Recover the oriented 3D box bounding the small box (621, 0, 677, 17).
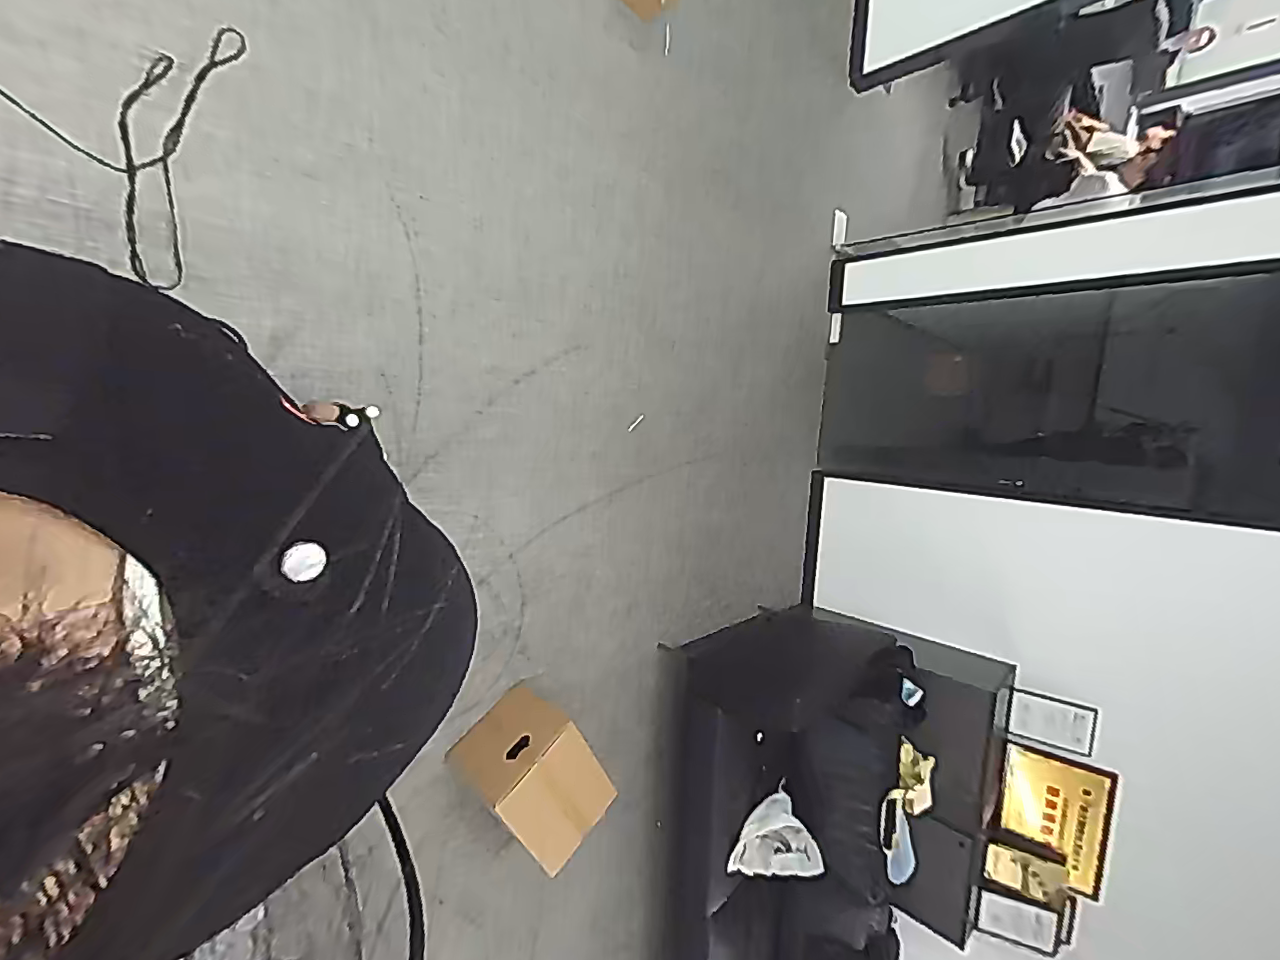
[{"bbox_3d":[0.019,-1.690,1.787,0.179,0.176,0.168,4,94,-46],"label":"small box"}]
